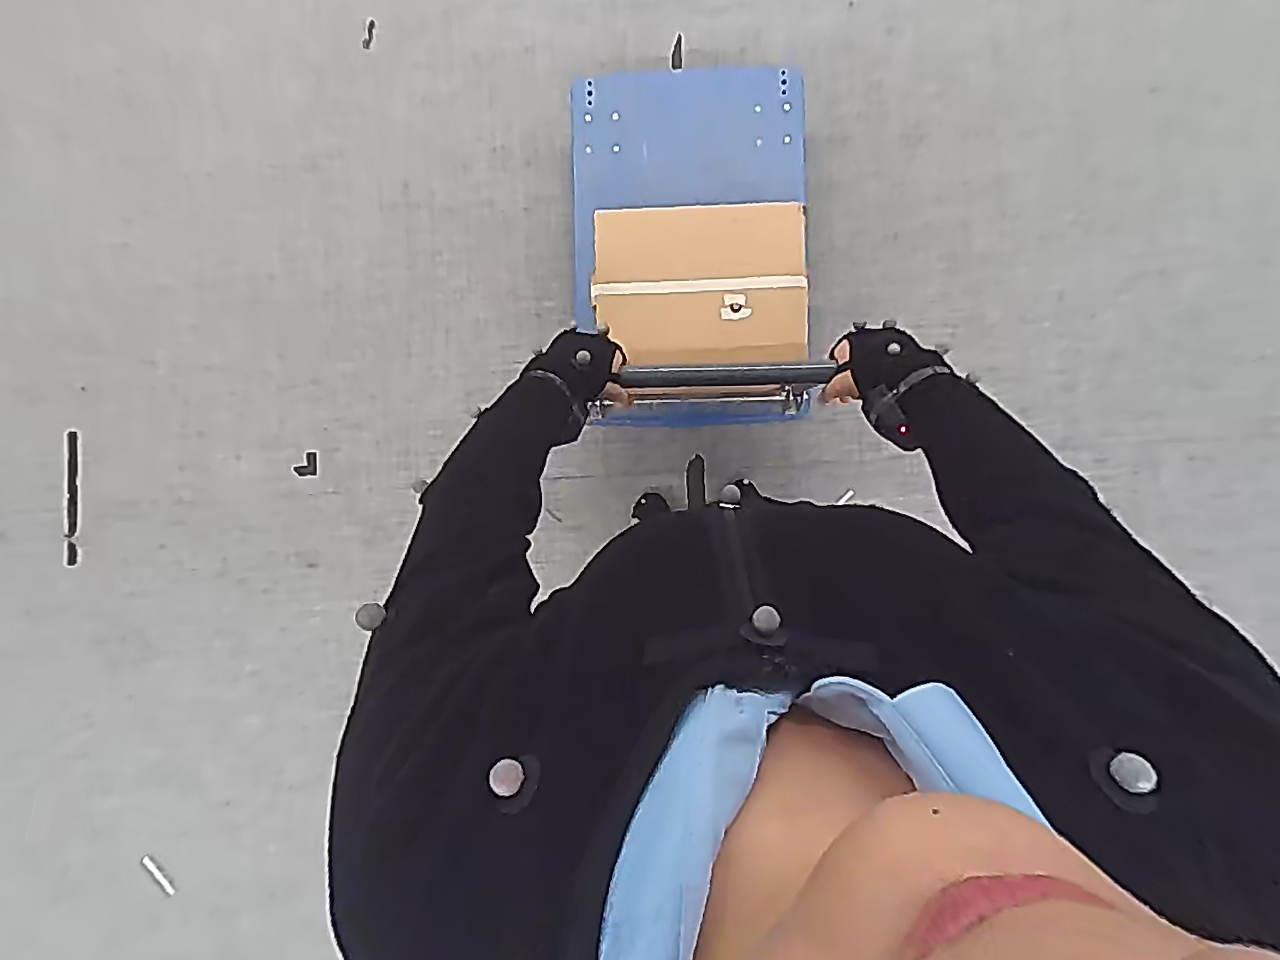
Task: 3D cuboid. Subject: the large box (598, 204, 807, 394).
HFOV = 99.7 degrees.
[{"bbox_3d":[0.123,-0.376,1.202,0.408,0.320,0.320,-1,90,2],"label":"large box"}]
